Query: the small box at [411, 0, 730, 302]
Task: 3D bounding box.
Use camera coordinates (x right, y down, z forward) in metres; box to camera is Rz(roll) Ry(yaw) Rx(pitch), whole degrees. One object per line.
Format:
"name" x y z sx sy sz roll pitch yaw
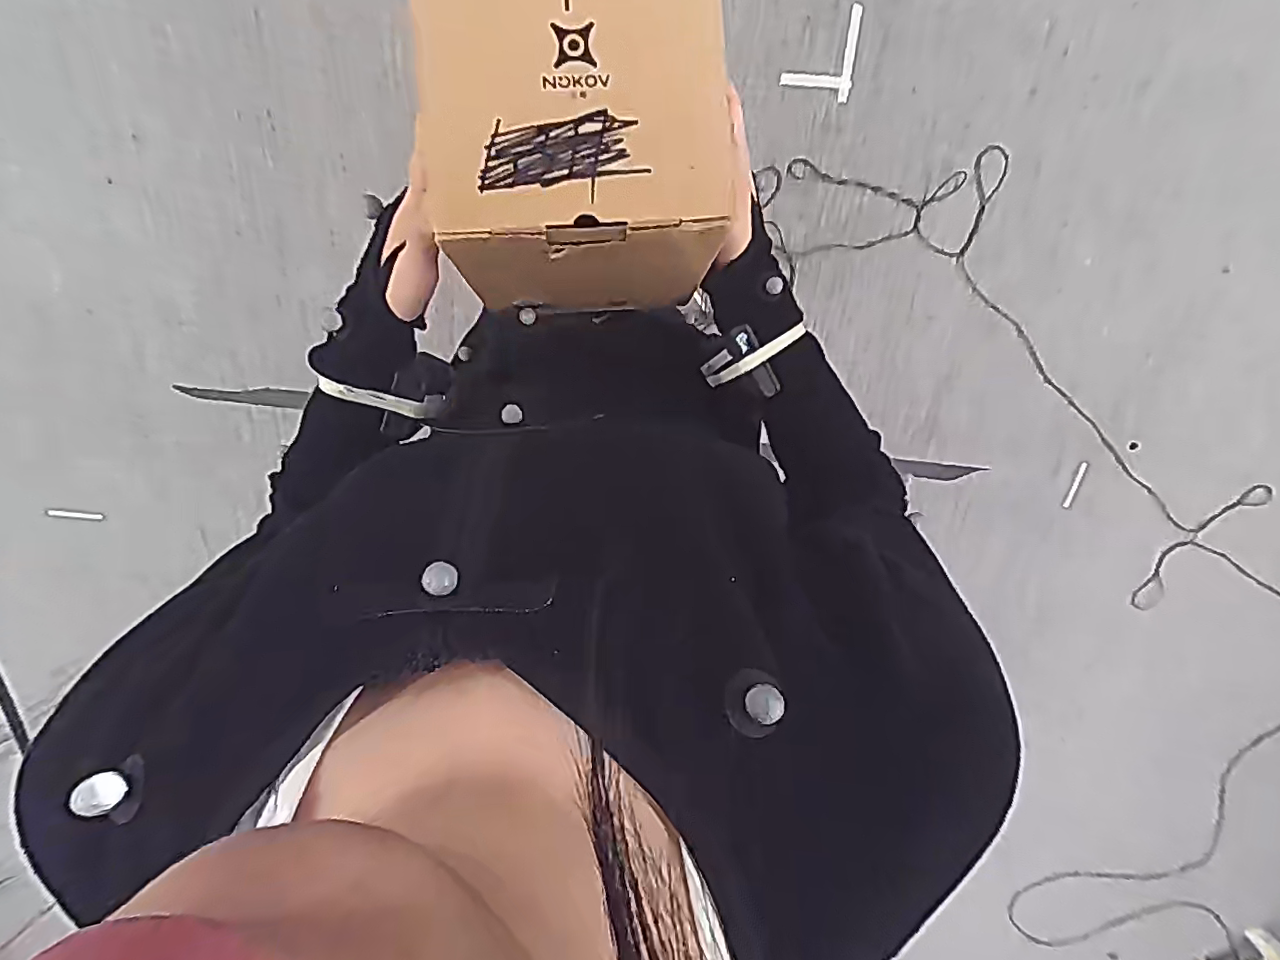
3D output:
"small box" -0.041 -0.228 0.366 0.168 0.176 0.179 -4 92 -4
